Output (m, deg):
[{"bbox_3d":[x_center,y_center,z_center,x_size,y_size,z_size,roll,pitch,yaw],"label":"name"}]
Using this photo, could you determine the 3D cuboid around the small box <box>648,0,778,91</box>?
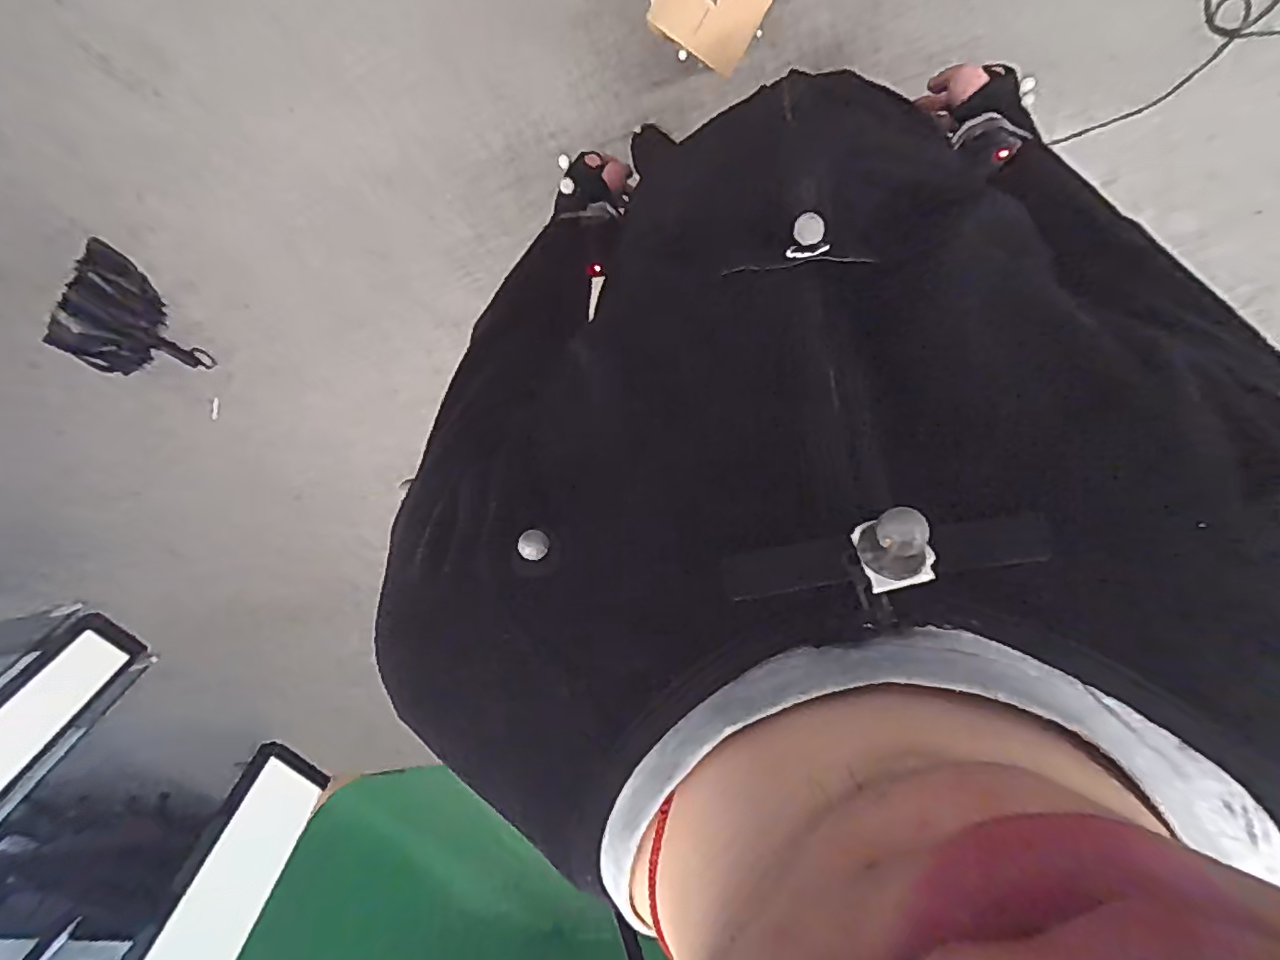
[{"bbox_3d":[0.128,-0.805,0.918,0.168,0.176,0.179,27,126,-14],"label":"small box"}]
